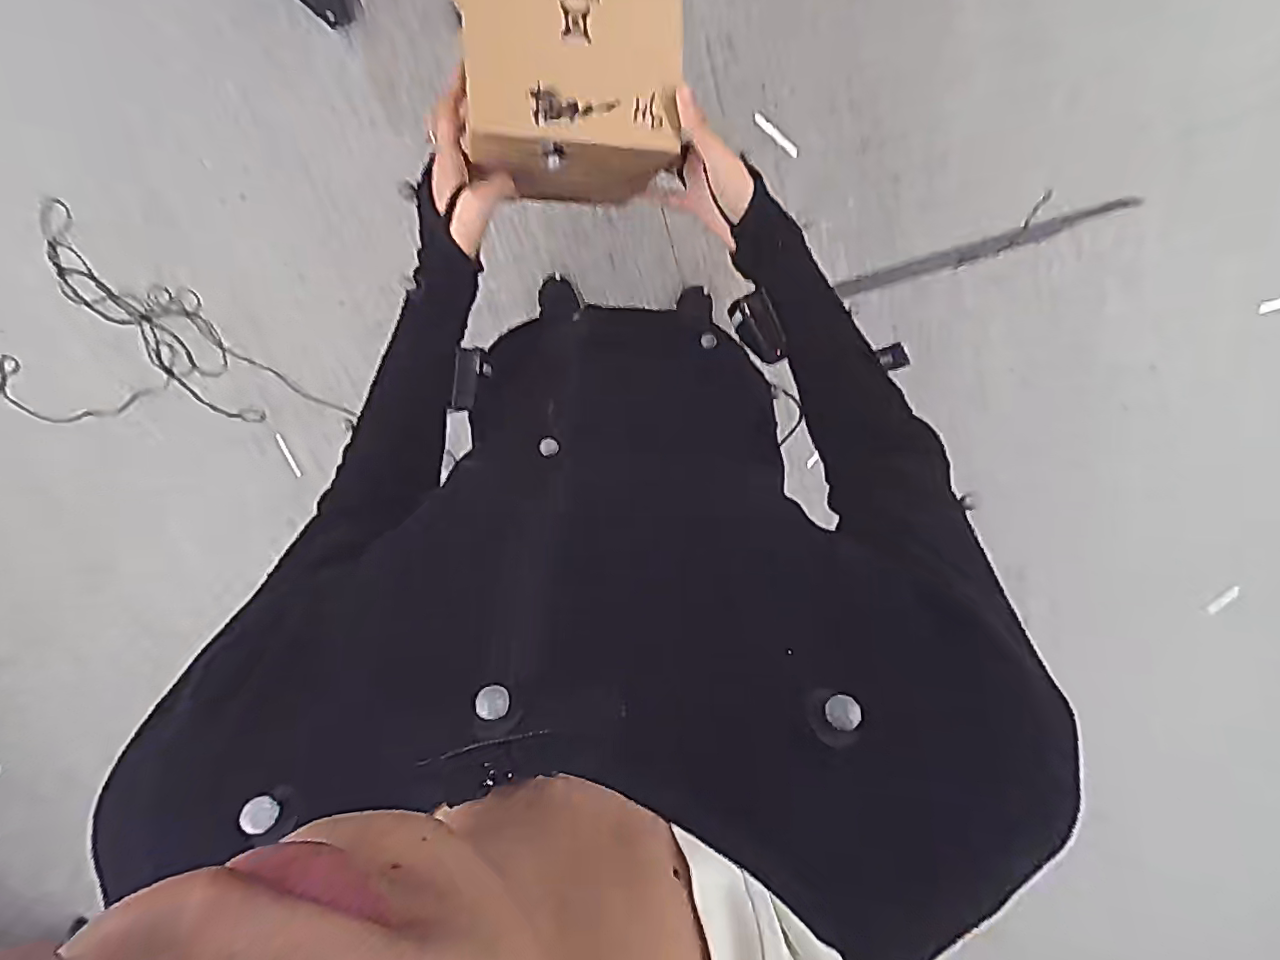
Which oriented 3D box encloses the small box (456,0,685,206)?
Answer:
[{"bbox_3d":[-0.068,-0.360,0.466,0.168,0.176,0.179,-4,103,-17],"label":"small box"}]
